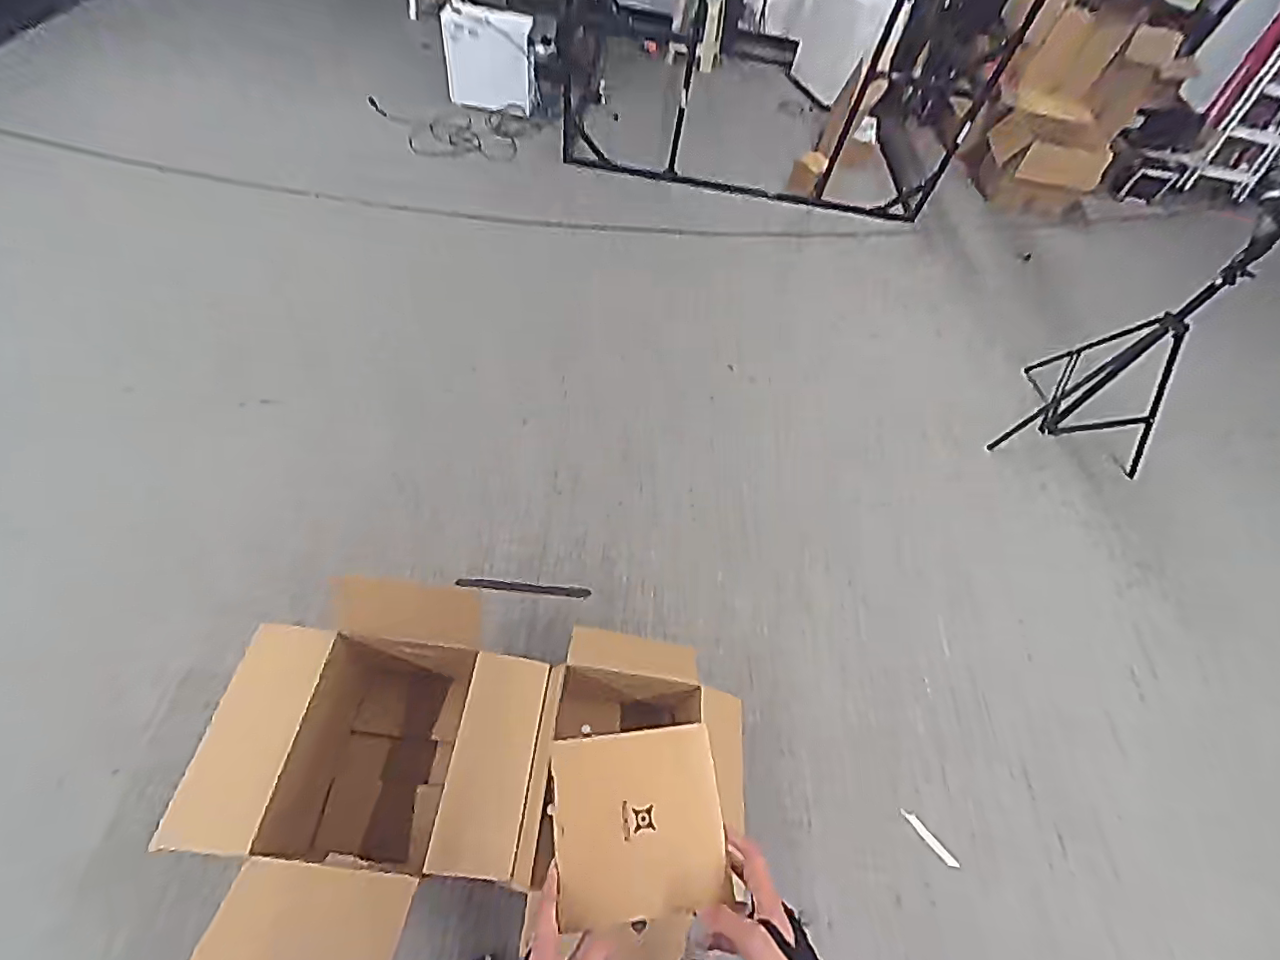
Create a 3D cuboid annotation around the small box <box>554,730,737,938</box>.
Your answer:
[{"bbox_3d":[-0.005,0.387,0.624,0.179,0.176,0.168,-4,64,-7],"label":"small box"}]
